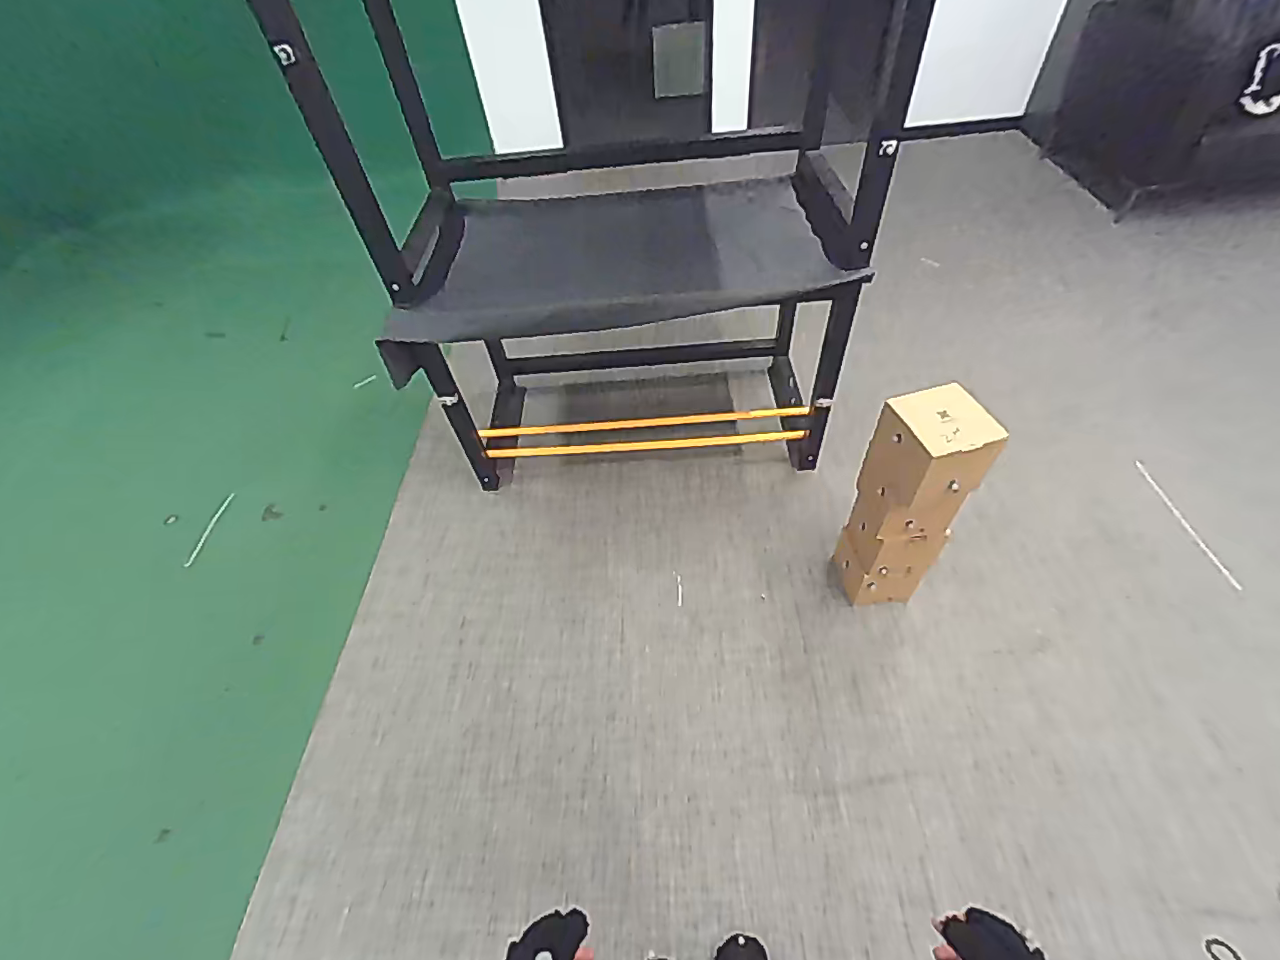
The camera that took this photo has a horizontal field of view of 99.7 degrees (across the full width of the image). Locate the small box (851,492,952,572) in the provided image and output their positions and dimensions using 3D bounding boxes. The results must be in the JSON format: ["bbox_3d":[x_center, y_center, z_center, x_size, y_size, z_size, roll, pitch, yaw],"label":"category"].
[{"bbox_3d":[0.667,0.127,1.403,0.168,0.176,0.179,-6,49,1],"label":"small box"}]

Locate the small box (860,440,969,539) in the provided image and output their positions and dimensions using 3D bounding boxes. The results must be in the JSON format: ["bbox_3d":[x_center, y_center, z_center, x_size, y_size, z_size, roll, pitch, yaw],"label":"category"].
[{"bbox_3d":[0.639,0.019,1.284,0.168,0.176,0.179,-4,50,4],"label":"small box"}]

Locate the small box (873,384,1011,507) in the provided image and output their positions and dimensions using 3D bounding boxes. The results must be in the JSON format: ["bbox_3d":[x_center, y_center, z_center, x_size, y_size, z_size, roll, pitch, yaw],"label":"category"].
[{"bbox_3d":[0.624,-0.071,1.148,0.168,0.176,0.179,-14,51,-5],"label":"small box"}]
